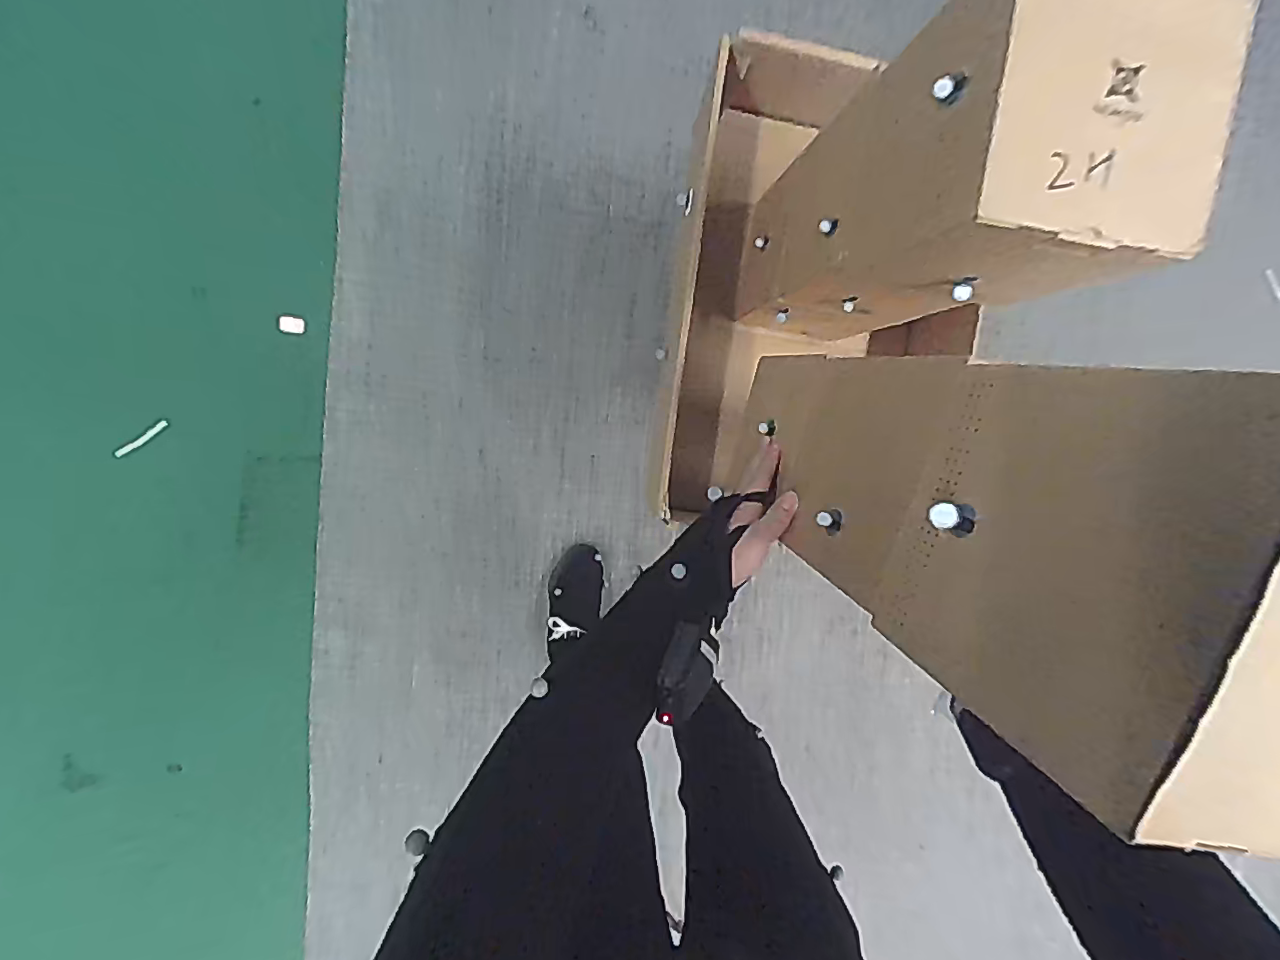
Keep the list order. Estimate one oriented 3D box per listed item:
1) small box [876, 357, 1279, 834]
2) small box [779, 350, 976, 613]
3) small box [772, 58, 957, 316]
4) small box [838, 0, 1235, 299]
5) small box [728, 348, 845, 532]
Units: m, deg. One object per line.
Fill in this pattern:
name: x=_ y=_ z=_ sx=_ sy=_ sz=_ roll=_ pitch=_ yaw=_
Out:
small box: x=0.255 y=0.042 z=0.280 sx=0.168 sy=0.176 sz=0.179 roll=11 pitch=102 yaw=-12
small box: x=0.232 y=0.002 z=0.437 sx=0.168 sy=0.176 sz=0.179 roll=12 pitch=100 yaw=-12
small box: x=0.255 y=-0.287 z=0.575 sx=0.168 sy=0.176 sz=0.179 roll=7 pitch=97 yaw=-8
small box: x=0.274 y=-0.253 z=0.414 sx=0.168 sy=0.176 sz=0.179 roll=5 pitch=97 yaw=-8
small box: x=0.209 y=-0.036 z=0.590 sx=0.168 sy=0.176 sz=0.179 roll=14 pitch=101 yaw=-10
